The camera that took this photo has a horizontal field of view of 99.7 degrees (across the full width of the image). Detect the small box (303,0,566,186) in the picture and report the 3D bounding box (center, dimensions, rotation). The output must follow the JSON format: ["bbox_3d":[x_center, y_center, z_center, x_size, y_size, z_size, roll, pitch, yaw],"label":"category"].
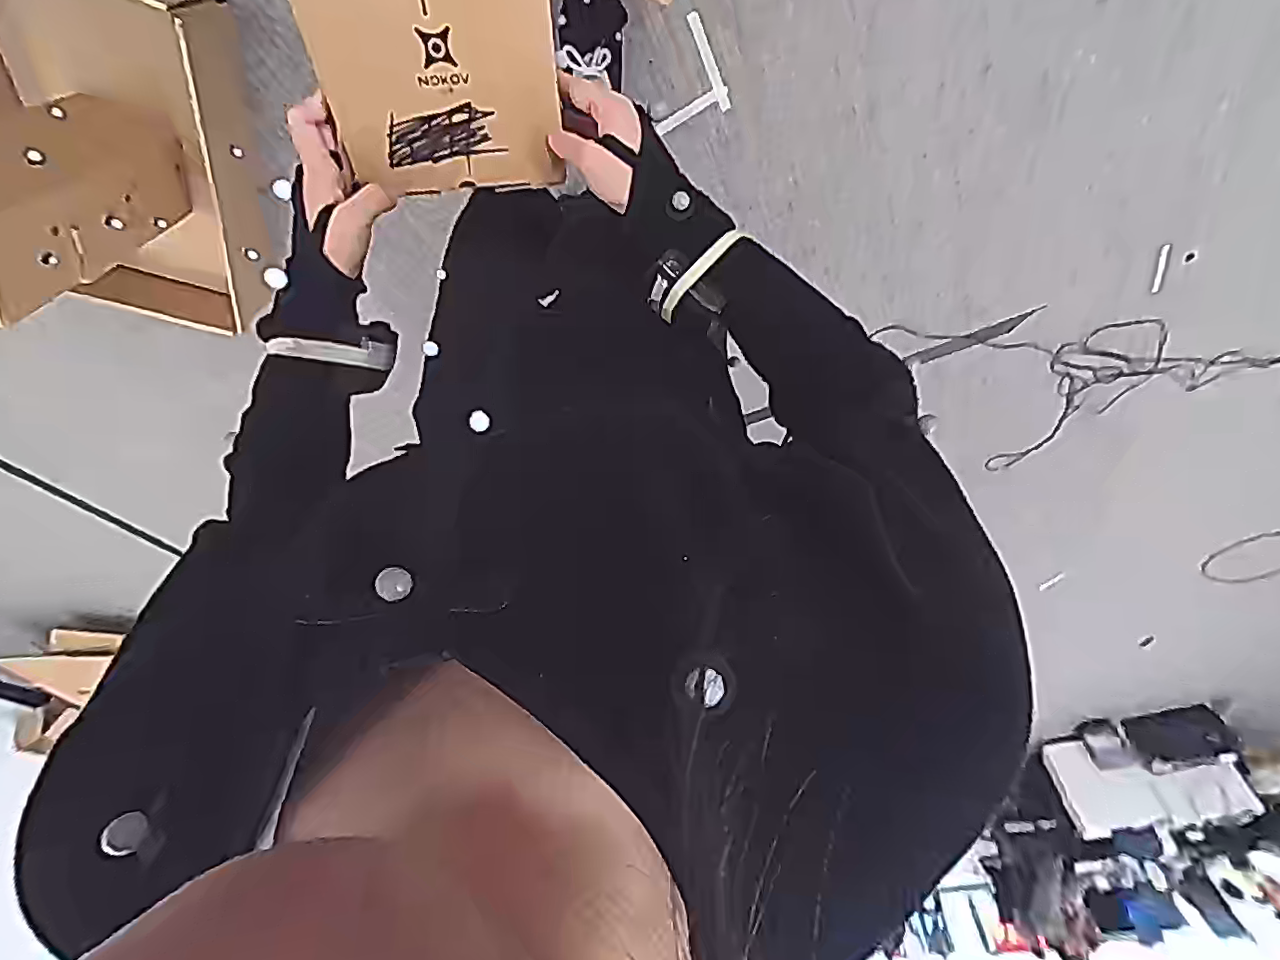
[{"bbox_3d":[-0.152,-0.362,0.428,0.168,0.176,0.179,-8,141,-8],"label":"small box"}]

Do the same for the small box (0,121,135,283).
[{"bbox_3d":[-1.016,-0.477,0.924,0.179,0.176,0.168,16,133,-19],"label":"small box"}]

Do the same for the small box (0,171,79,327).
[{"bbox_3d":[-1.016,-0.365,0.805,0.179,0.176,0.168,15,133,-18],"label":"small box"}]
